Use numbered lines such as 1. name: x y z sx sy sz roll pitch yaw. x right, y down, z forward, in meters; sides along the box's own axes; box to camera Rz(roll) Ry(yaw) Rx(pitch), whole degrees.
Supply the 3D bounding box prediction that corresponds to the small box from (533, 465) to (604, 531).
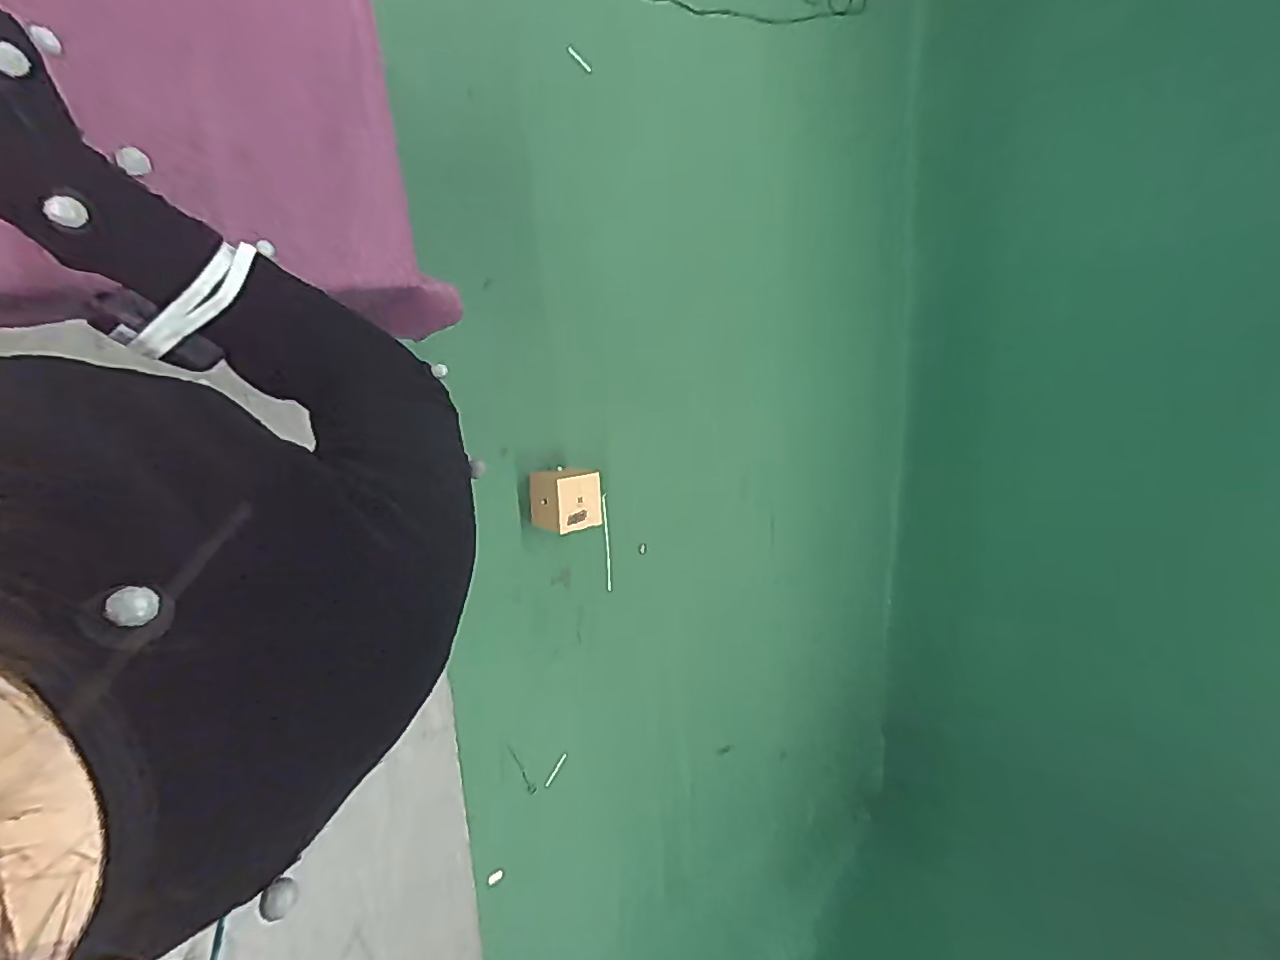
1. small box: -0.234 0.051 1.756 0.168 0.176 0.179 -11 103 -40
